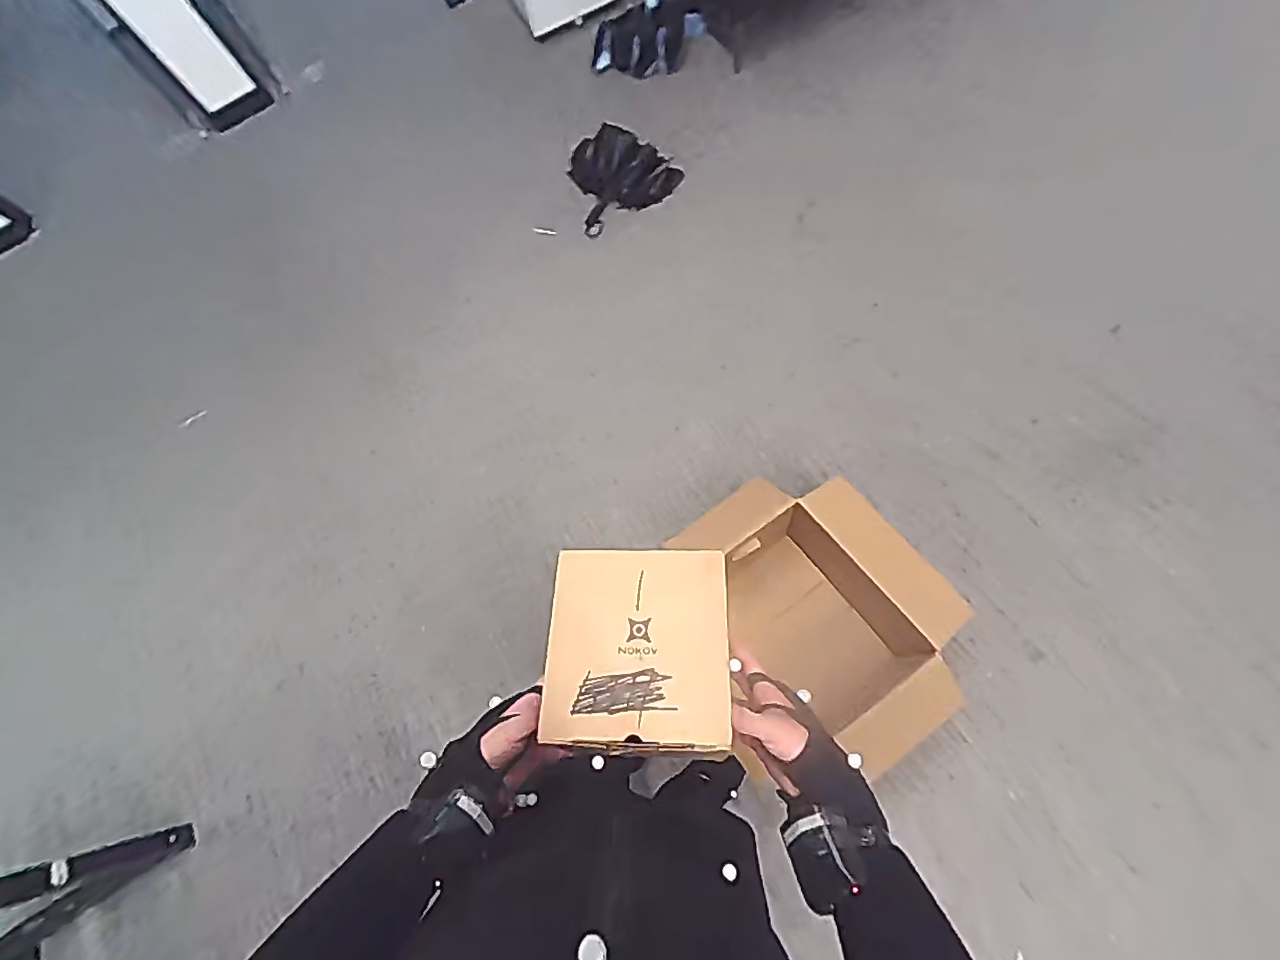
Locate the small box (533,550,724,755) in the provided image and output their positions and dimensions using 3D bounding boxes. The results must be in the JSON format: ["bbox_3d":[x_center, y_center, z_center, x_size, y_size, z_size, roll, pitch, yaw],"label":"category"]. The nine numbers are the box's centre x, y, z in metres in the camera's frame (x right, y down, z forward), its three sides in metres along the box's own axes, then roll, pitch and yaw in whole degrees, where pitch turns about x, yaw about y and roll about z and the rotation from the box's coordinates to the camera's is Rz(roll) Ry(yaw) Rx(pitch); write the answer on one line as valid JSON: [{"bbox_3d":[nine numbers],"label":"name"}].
[{"bbox_3d":[0.000,0.183,0.559,0.168,0.176,0.179,-1,60,5],"label":"small box"}]
